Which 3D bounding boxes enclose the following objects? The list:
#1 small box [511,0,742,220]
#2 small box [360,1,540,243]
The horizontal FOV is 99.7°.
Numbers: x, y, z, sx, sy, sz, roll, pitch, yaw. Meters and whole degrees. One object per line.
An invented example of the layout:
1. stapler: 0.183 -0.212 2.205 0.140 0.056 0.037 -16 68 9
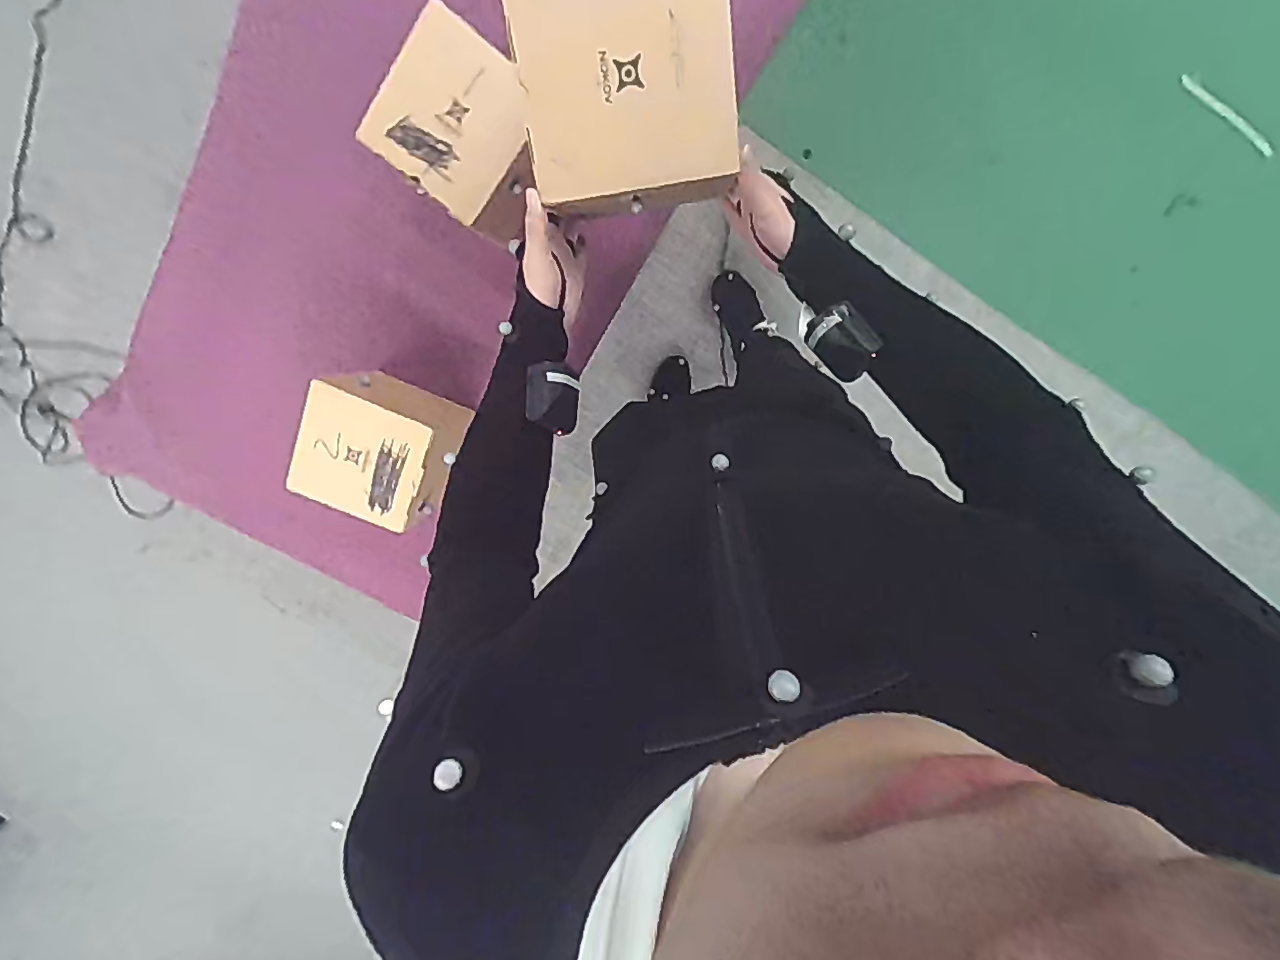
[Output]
1. small box: -0.001 -0.348 0.507 0.179 0.176 0.168 -5 111 6
2. small box: -0.213 -0.440 0.705 0.168 0.176 0.179 37 102 -8
